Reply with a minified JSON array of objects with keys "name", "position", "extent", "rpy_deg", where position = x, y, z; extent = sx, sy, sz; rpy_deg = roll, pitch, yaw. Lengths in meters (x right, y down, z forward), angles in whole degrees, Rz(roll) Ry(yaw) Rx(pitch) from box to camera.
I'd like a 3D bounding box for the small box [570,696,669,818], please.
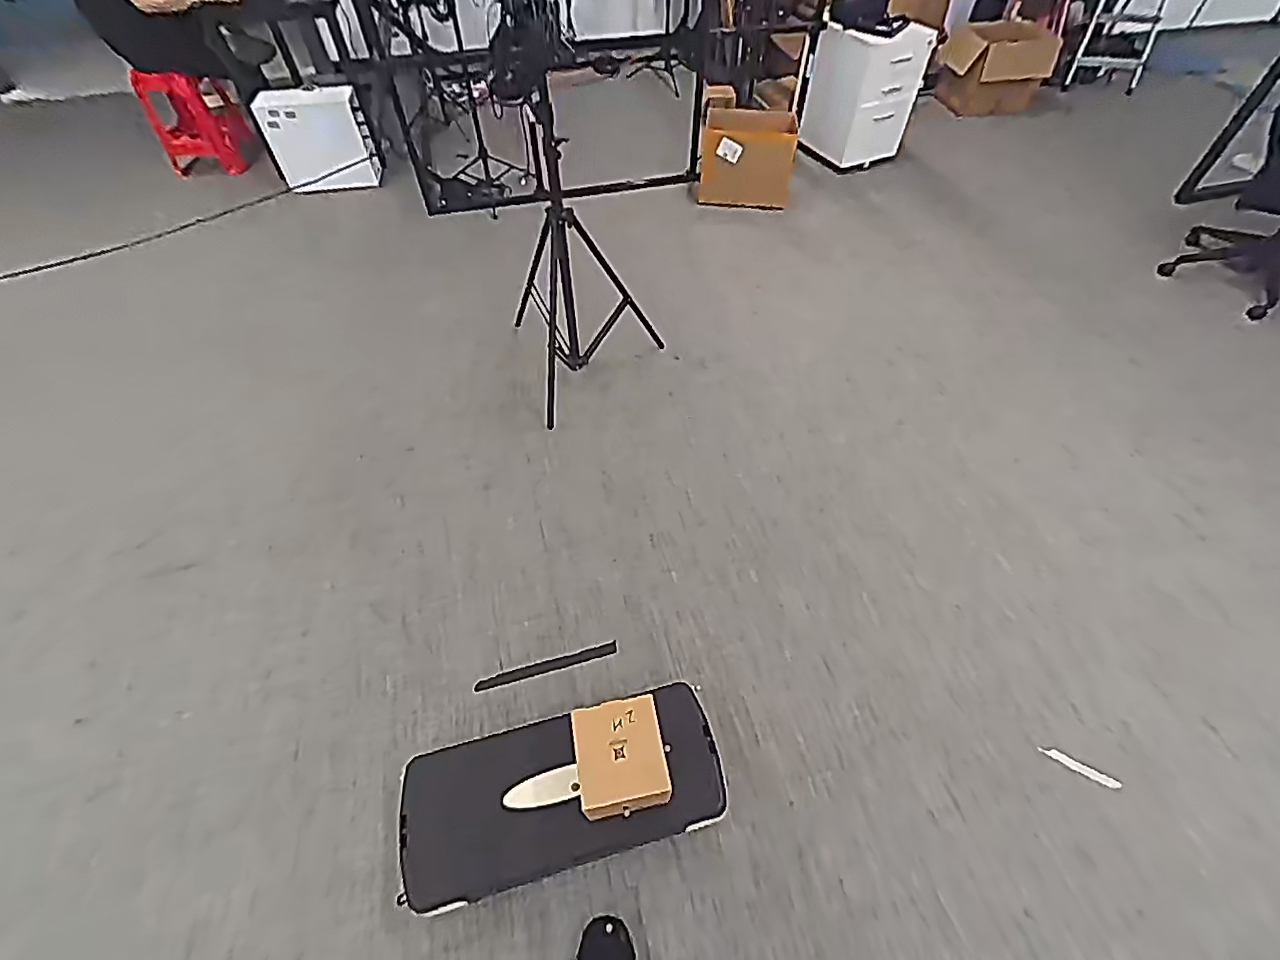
[{"name":"small box","position":[-0.040,0.555,1.074],"extent":[0.168,0.176,0.179],"rpy_deg":[-9,53,-7]}]
